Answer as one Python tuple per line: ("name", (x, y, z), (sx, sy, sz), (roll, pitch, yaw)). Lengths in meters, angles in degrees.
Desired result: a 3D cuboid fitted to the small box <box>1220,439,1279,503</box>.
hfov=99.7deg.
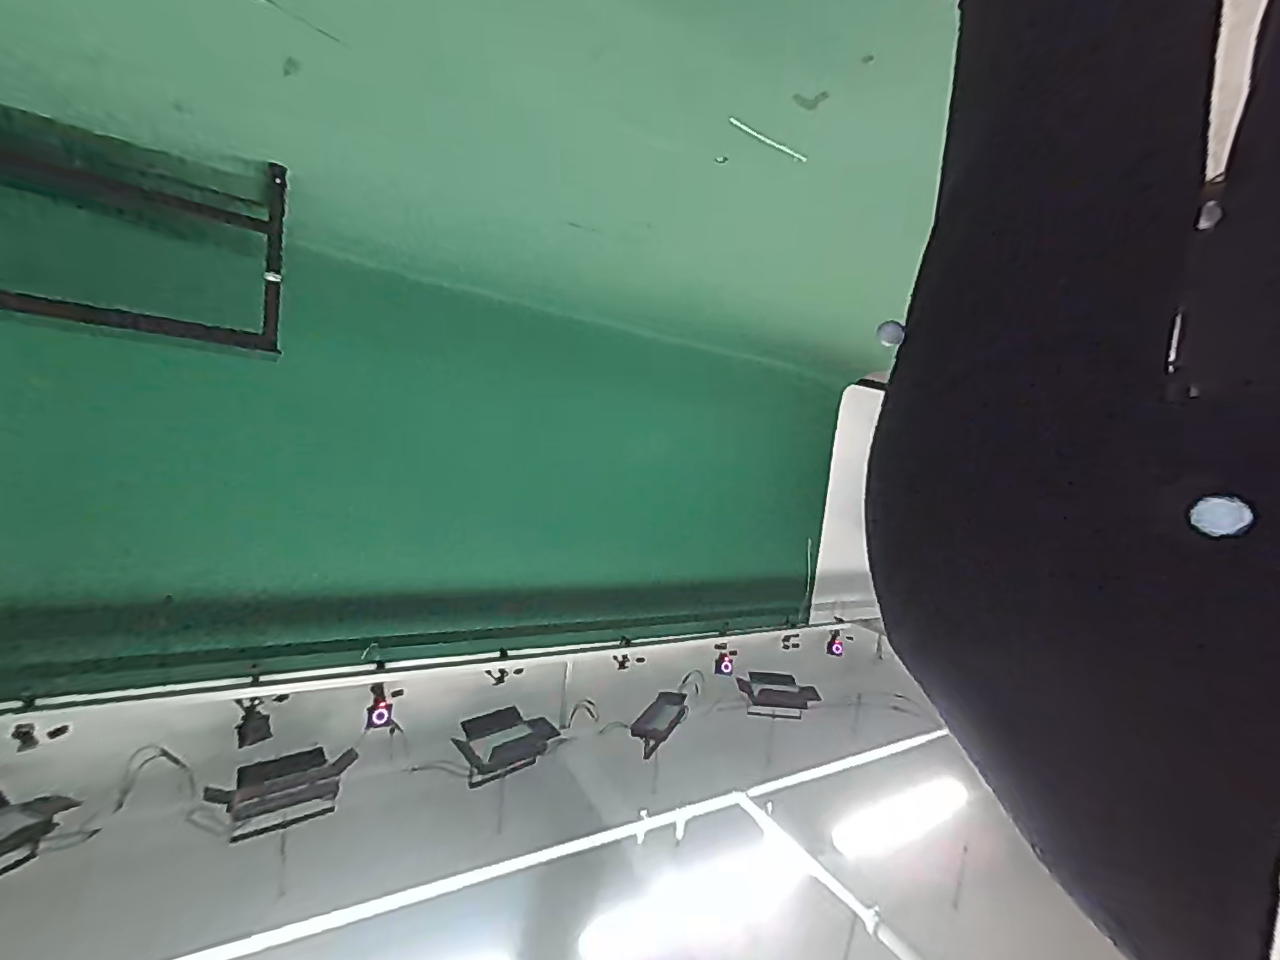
("small box", (1.786, -0.022, 1.523), (0.179, 0.176, 0.168), (3, -176, -32))
